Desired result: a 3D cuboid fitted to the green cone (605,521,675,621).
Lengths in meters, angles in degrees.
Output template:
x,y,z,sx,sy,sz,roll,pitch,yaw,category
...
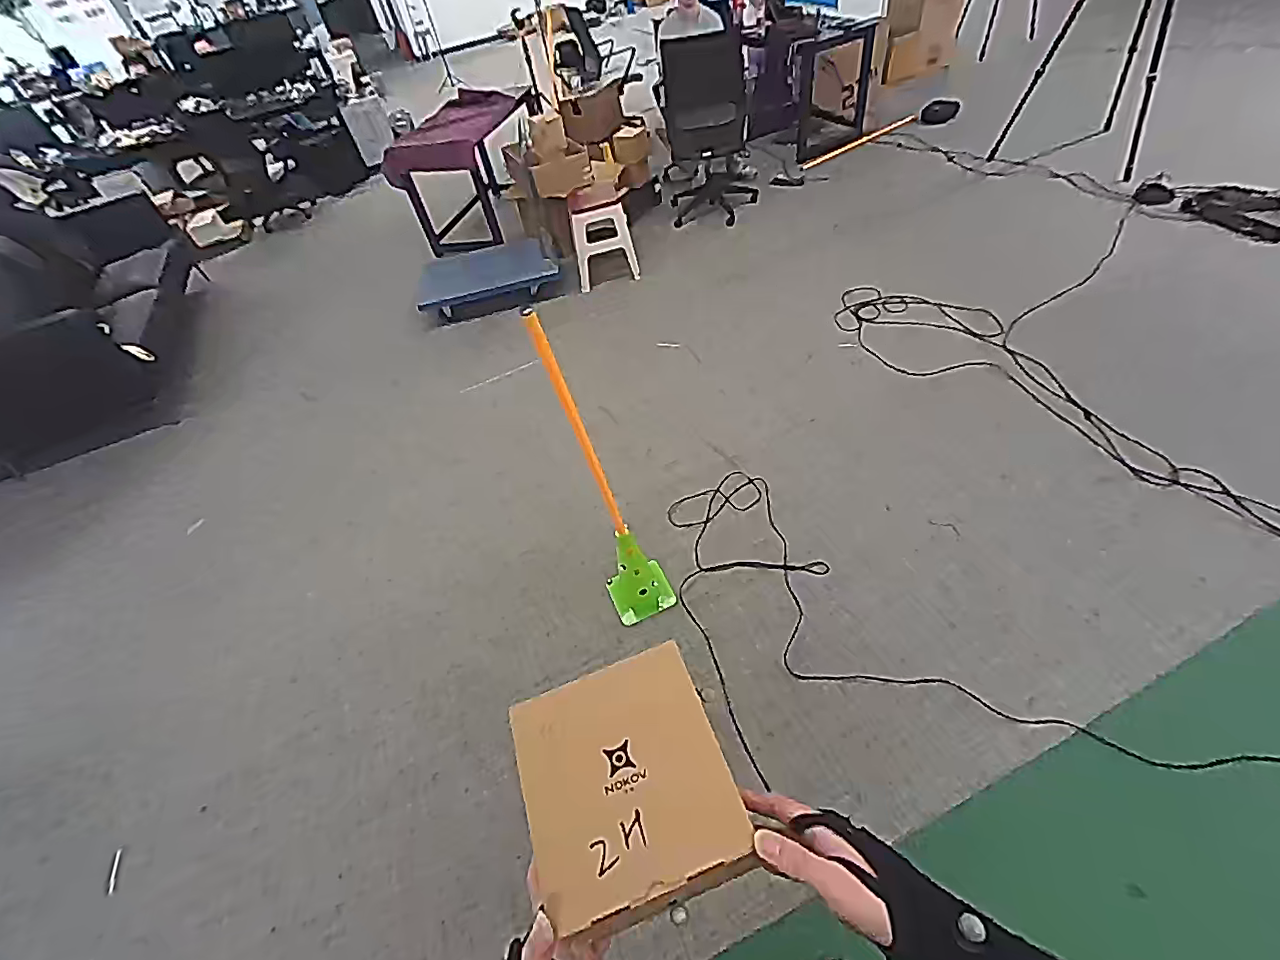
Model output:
x,y,z,sx,sy,sz,roll,pitch,yaw,category
-0.026,0.259,1.730,0.202,0.368,0.200,-23,48,-10,green cone
